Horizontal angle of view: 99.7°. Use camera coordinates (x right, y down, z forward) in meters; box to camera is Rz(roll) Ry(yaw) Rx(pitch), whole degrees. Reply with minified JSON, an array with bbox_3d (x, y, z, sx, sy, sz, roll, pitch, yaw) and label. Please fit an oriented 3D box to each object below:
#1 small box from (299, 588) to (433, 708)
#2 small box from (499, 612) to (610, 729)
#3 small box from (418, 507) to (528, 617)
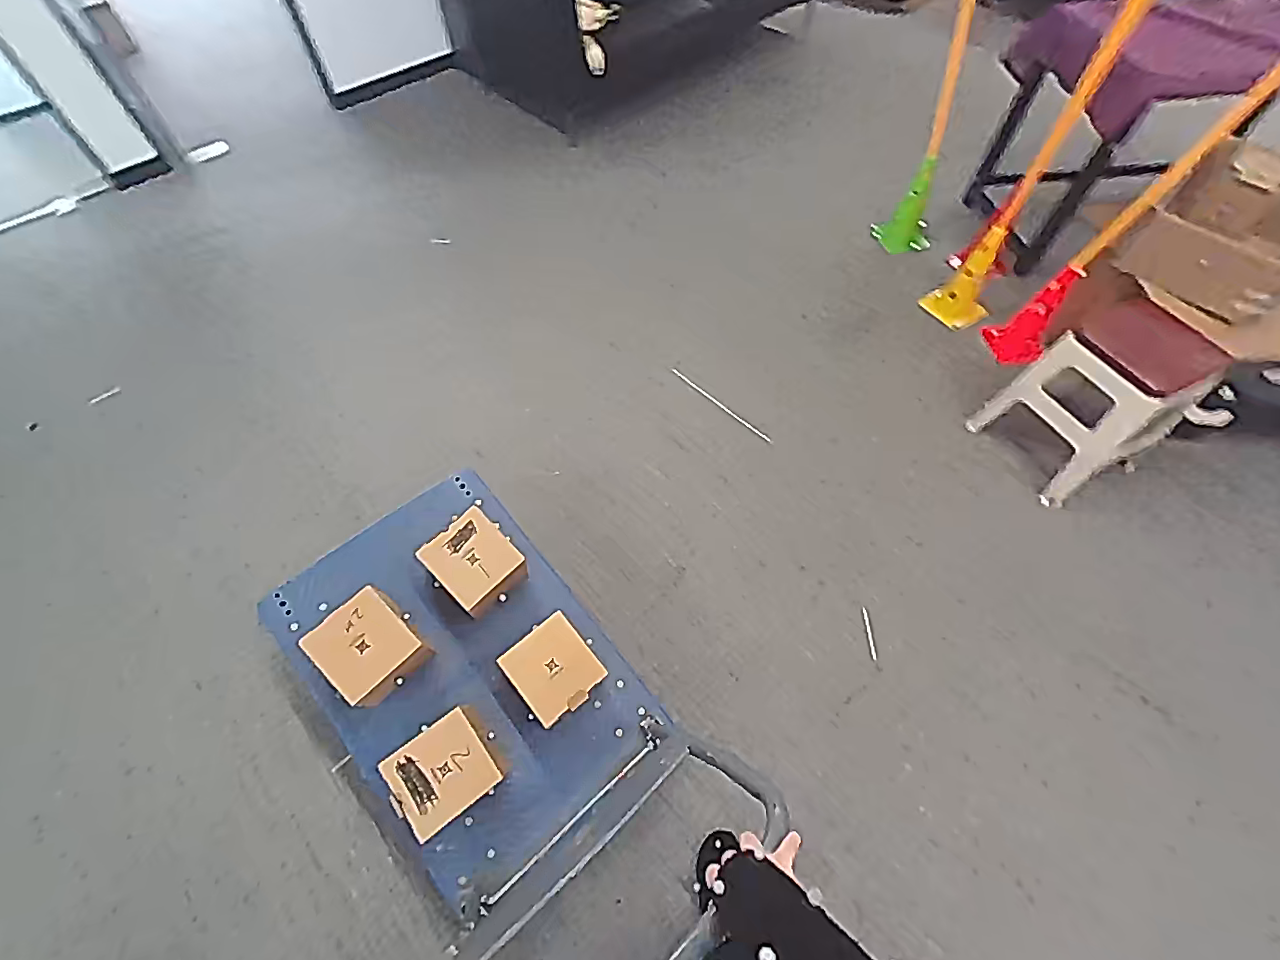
[{"bbox_3d":[-0.569,0.358,1.153,0.179,0.176,0.168,44,68,9],"label":"small box"},{"bbox_3d":[-0.190,0.421,1.196,0.168,0.176,0.179,-37,79,-20],"label":"small box"},{"bbox_3d":[-0.377,0.197,1.250,0.179,0.176,0.168,45,69,8],"label":"small box"}]
